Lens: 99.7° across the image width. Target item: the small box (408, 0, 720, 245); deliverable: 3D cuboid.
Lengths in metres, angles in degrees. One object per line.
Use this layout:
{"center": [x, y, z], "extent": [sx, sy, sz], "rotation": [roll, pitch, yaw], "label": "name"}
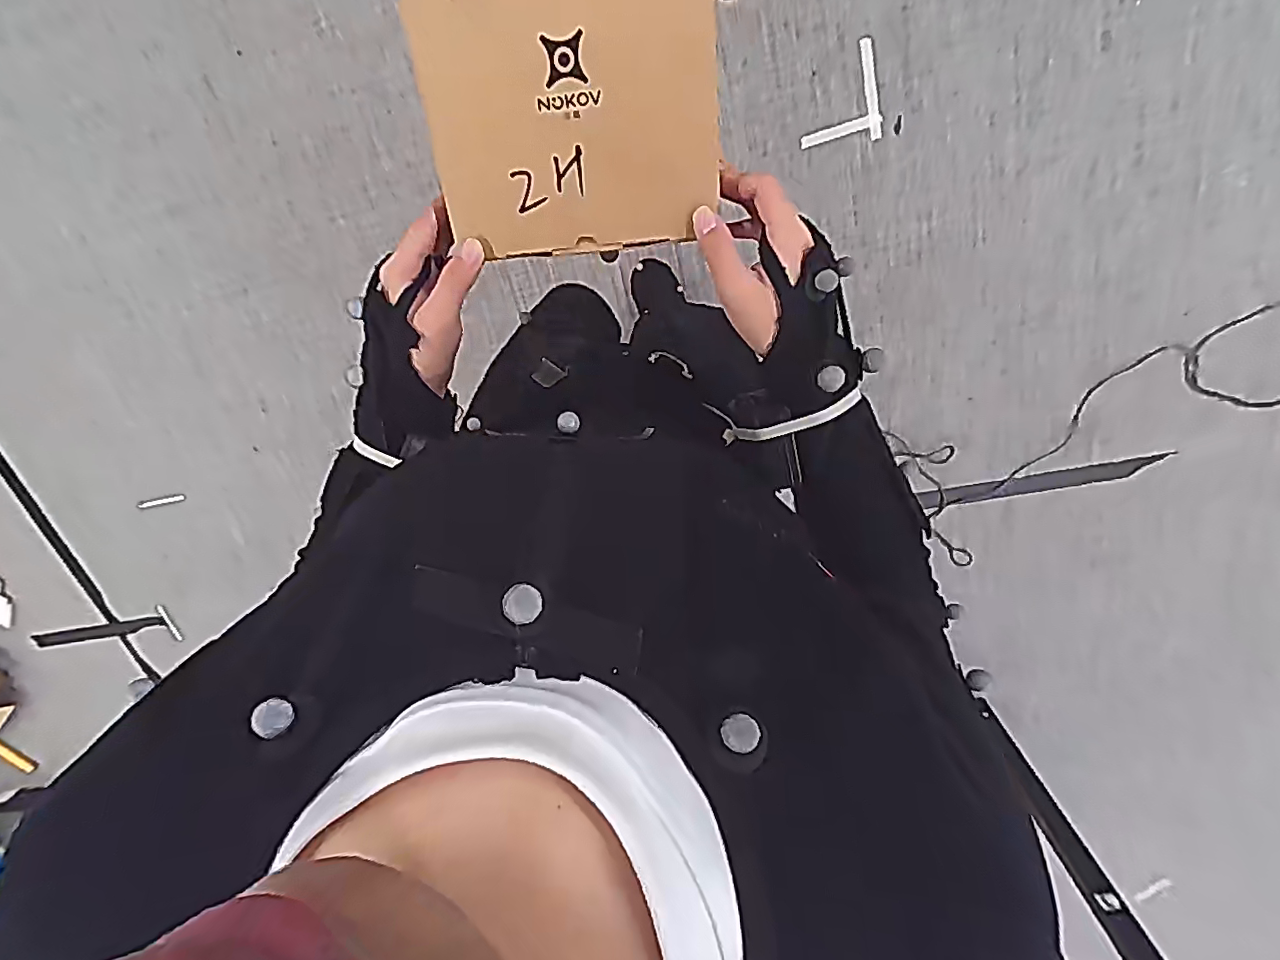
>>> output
{"center": [-0.035, -0.261, 0.365], "extent": [0.168, 0.176, 0.179], "rotation": [-2, 116, 6], "label": "small box"}
